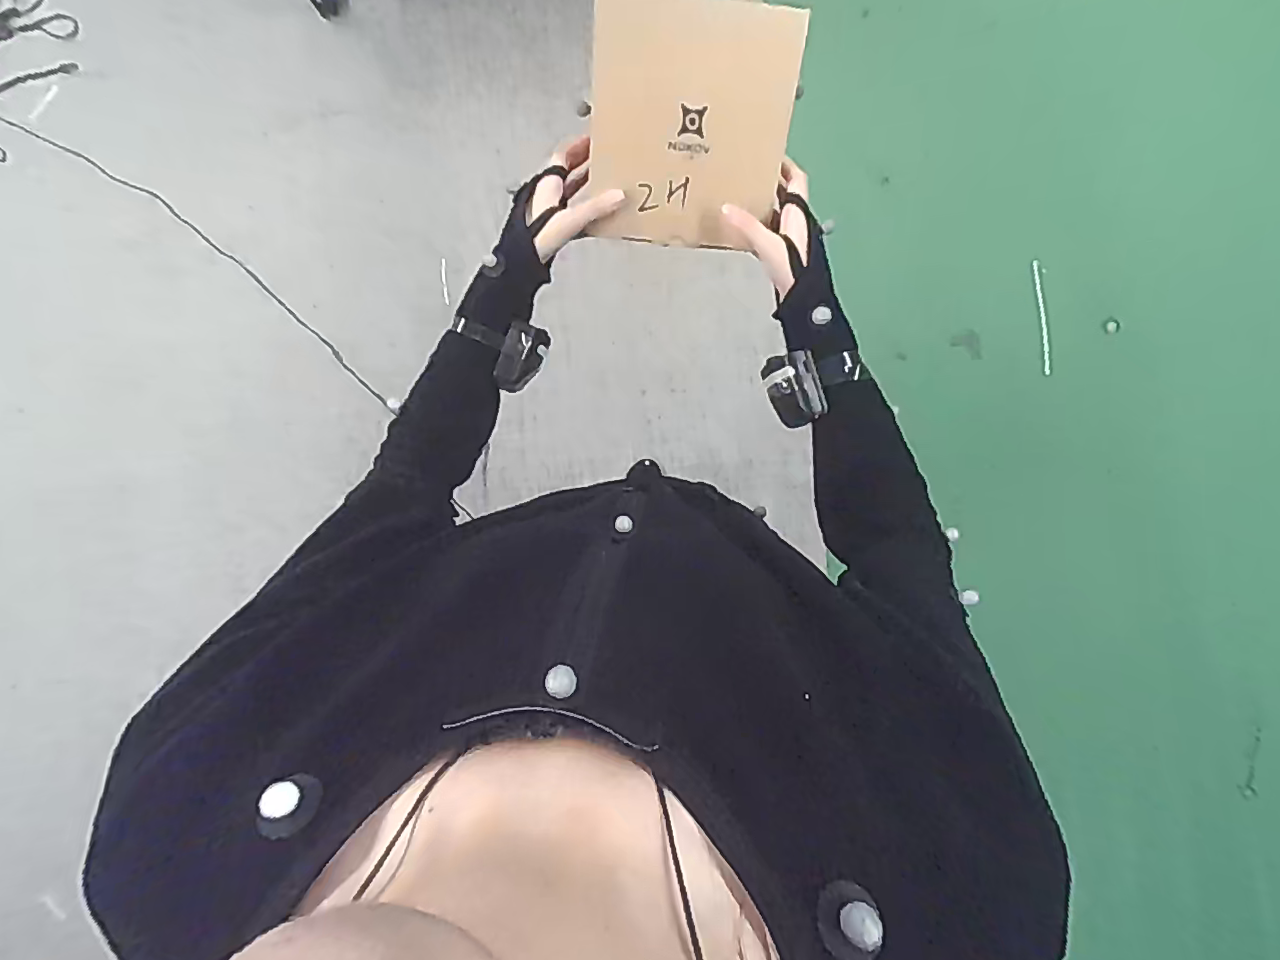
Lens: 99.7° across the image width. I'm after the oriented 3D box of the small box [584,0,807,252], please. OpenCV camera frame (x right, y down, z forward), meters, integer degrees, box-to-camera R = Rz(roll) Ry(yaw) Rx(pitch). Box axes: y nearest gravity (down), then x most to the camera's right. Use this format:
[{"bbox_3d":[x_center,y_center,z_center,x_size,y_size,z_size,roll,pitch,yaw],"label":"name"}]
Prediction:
[{"bbox_3d":[0.036,-0.331,0.515,0.168,0.176,0.179,4,122,-4],"label":"small box"}]
